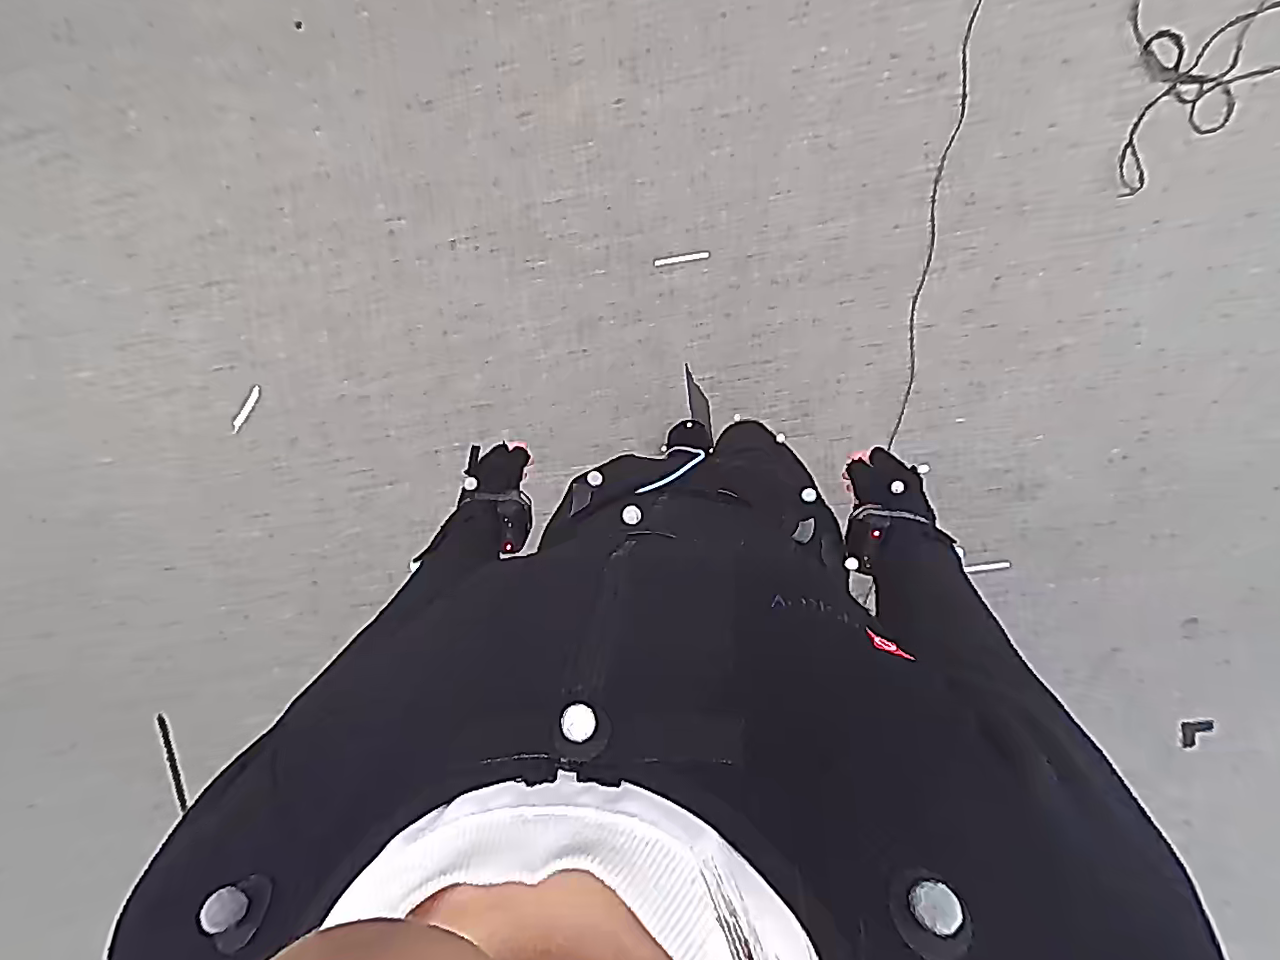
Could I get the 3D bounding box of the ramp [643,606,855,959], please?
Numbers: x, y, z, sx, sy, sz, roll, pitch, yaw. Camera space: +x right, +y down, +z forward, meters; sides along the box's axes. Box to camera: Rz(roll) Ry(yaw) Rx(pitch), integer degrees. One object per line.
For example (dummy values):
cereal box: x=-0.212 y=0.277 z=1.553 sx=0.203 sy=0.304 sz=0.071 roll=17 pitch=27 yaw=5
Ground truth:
ramp: x=0.278 y=0.846 z=1.433 sx=0.509 sy=0.206 sz=0.991 roll=-6 pitch=96 yaw=10
